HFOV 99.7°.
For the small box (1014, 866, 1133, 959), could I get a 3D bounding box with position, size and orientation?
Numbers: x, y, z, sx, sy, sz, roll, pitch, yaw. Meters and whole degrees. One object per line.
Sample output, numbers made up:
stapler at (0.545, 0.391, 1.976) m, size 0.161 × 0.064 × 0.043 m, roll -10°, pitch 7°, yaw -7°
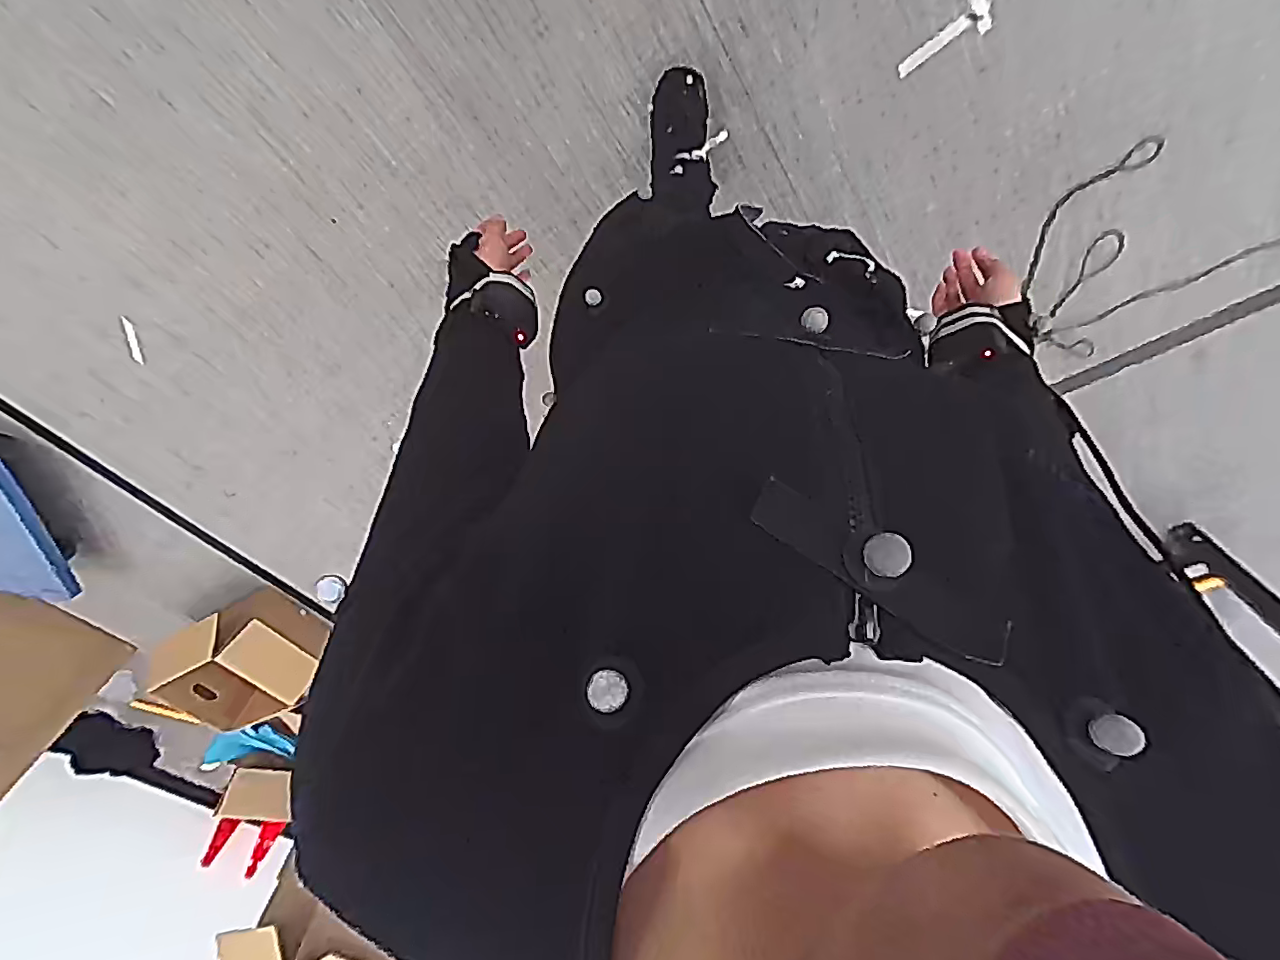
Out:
small box at (1.088, 1.113, 1.370) m, size 0.179 × 0.176 × 0.168 m, roll -31°, pitch 120°, yaw 22°
